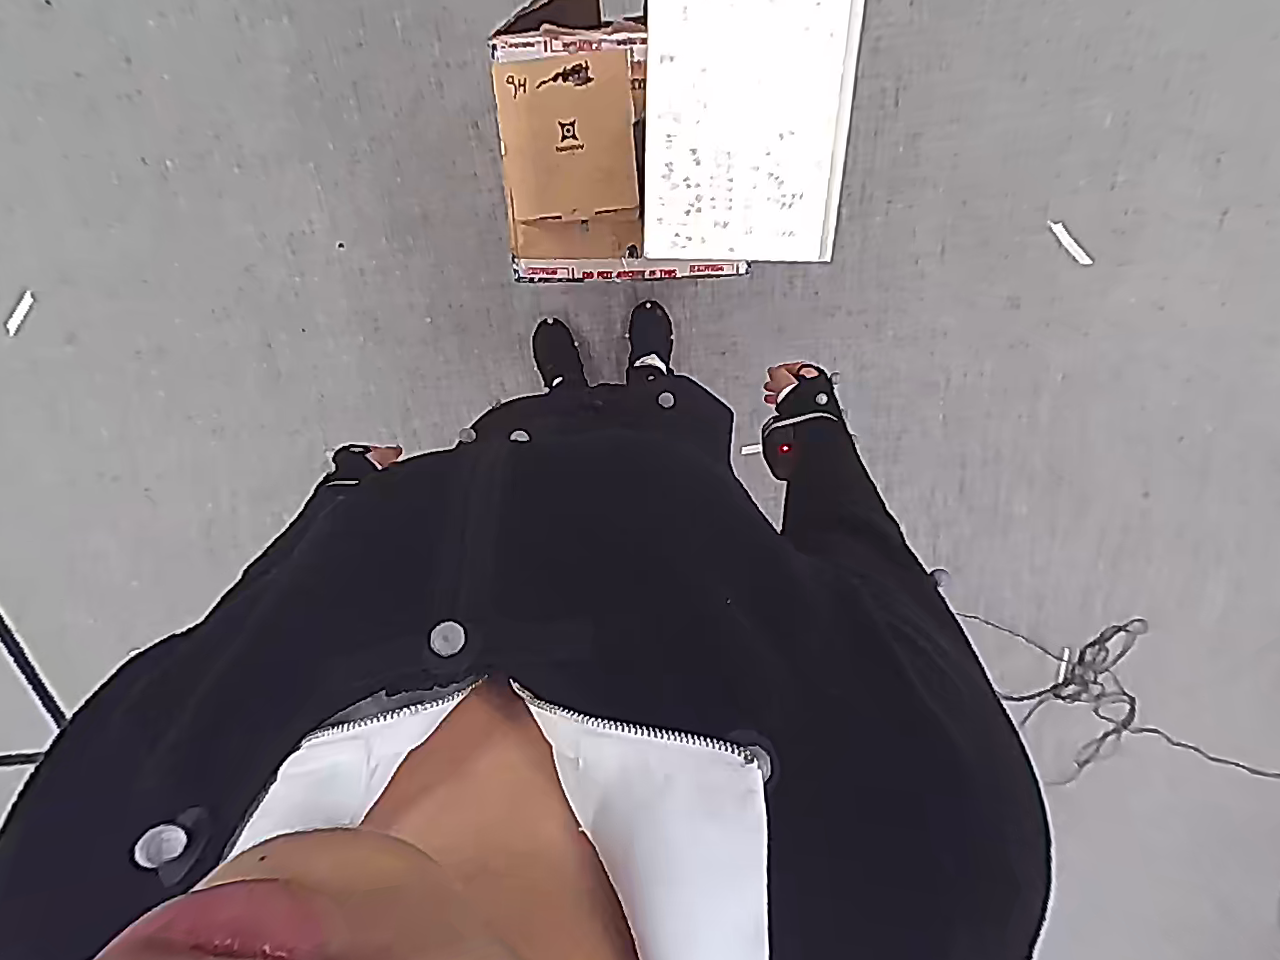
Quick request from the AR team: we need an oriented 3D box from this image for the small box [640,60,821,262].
[{"bbox_3d":[0.089,-0.350,0.628,0.168,0.176,0.179,0,113,-4],"label":"small box"}]
